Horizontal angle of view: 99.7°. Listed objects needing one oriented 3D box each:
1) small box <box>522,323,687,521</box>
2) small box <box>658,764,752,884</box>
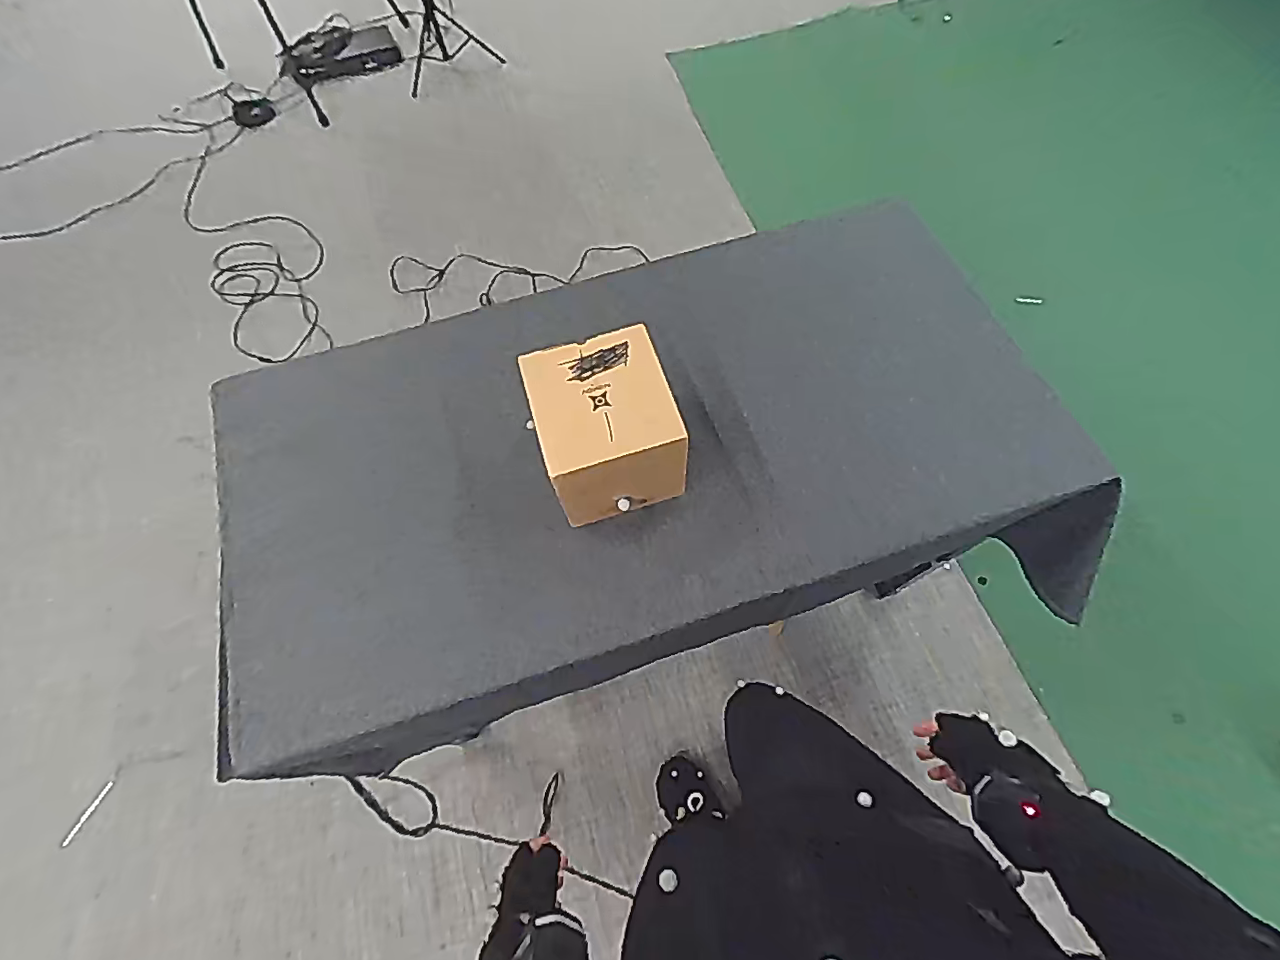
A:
[{"bbox_3d":[-0.044,-0.070,0.715,0.168,0.176,0.179,-17,66,-4],"label":"small box"},{"bbox_3d":[0.141,0.726,1.159,0.179,0.176,0.168,-3,75,20],"label":"small box"}]
